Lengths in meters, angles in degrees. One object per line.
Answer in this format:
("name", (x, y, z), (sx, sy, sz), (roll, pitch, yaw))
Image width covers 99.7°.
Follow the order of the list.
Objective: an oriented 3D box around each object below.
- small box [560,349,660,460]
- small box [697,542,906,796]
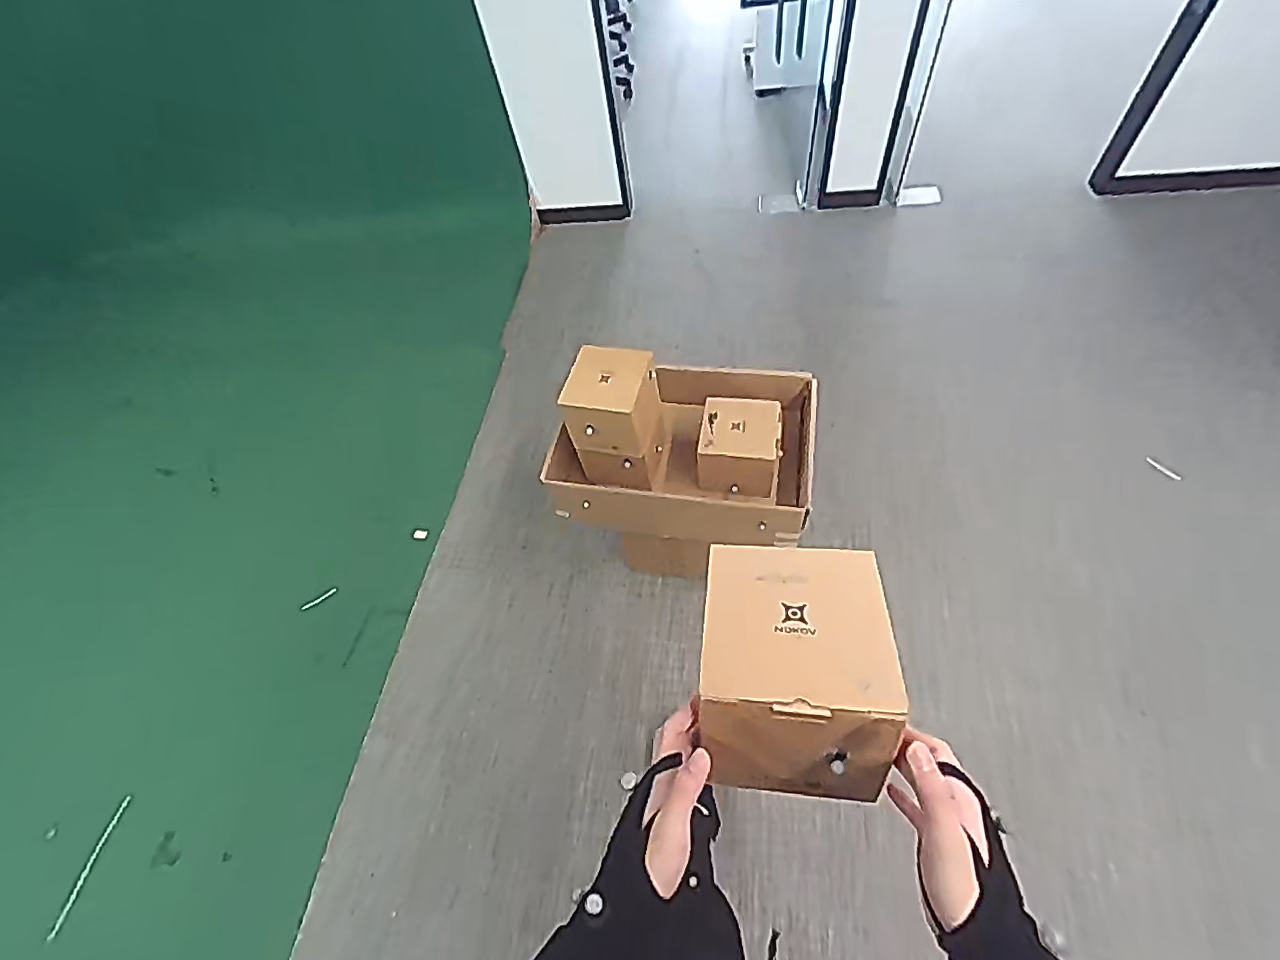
("small box", (-0.057, -0.166, 1.215), (0.168, 0.176, 0.179), (9, 58, 15))
("small box", (0.150, 0.186, 0.543), (0.168, 0.176, 0.179), (3, 39, 11))
